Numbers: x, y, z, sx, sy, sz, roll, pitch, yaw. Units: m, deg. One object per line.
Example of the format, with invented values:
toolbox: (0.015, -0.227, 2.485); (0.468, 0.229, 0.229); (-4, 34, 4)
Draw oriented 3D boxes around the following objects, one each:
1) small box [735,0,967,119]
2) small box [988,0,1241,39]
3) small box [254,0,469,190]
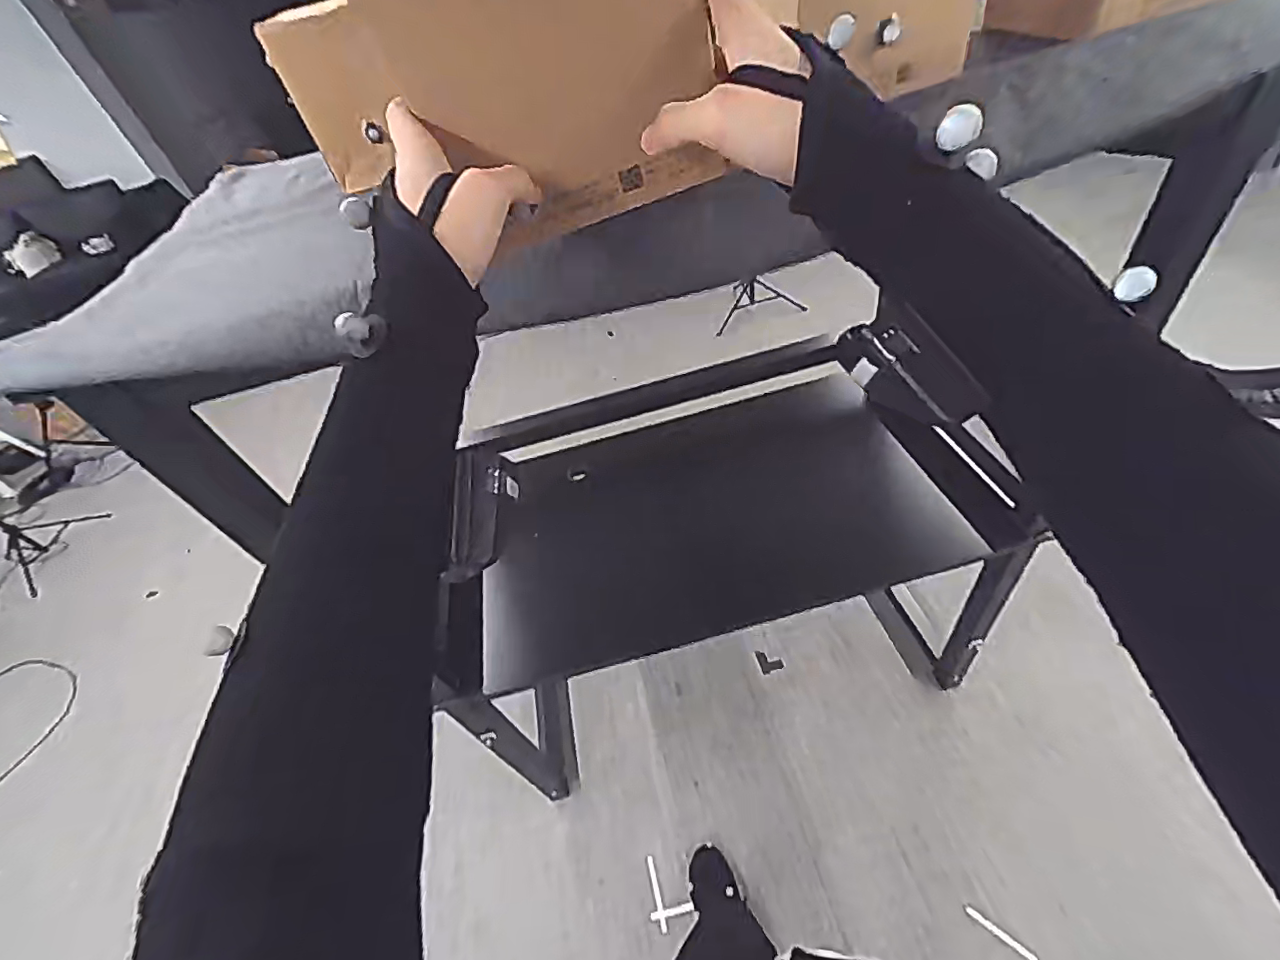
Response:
small box: (0.192, -0.472, 0.521); (0.168, 0.176, 0.179); (-16, 44, 0)
small box: (0.480, -0.555, 0.524); (0.168, 0.176, 0.179); (-15, 44, 1)
small box: (-0.326, -0.489, 0.675); (0.168, 0.176, 0.179); (-17, 47, -2)
